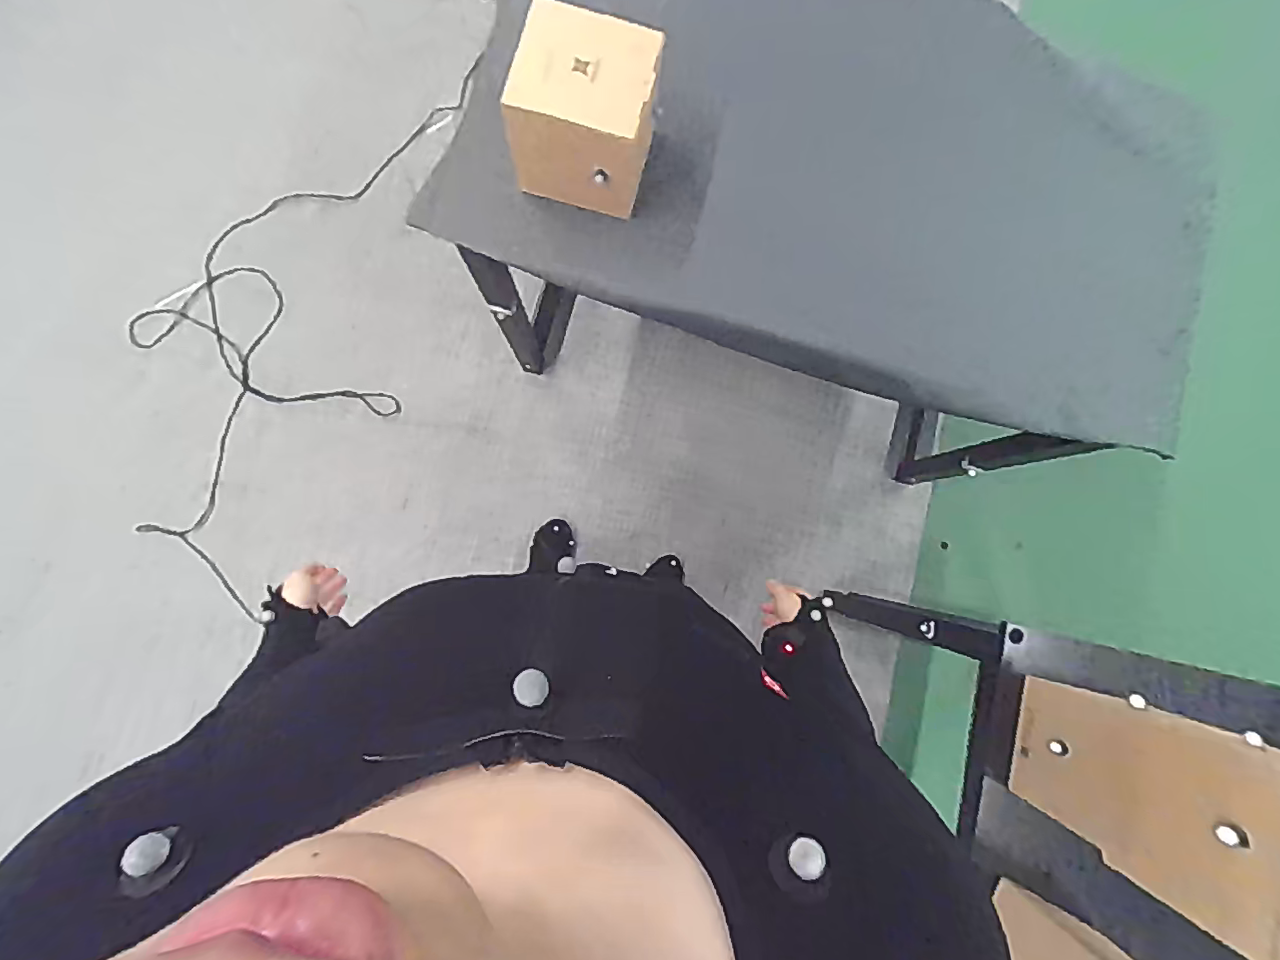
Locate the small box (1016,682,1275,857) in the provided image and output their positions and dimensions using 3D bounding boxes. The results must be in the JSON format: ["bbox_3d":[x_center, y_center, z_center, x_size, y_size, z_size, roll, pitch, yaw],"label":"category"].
[{"bbox_3d":[0.634,0.376,0.698,0.179,0.176,0.168,14,85,-1],"label":"small box"}]

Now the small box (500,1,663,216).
[{"bbox_3d":[-0.076,-0.508,0.764,0.179,0.176,0.168,14,81,0],"label":"small box"}]

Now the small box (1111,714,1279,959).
[{"bbox_3d":[0.623,0.362,0.536,0.168,0.176,0.179,14,84,0],"label":"small box"}]
